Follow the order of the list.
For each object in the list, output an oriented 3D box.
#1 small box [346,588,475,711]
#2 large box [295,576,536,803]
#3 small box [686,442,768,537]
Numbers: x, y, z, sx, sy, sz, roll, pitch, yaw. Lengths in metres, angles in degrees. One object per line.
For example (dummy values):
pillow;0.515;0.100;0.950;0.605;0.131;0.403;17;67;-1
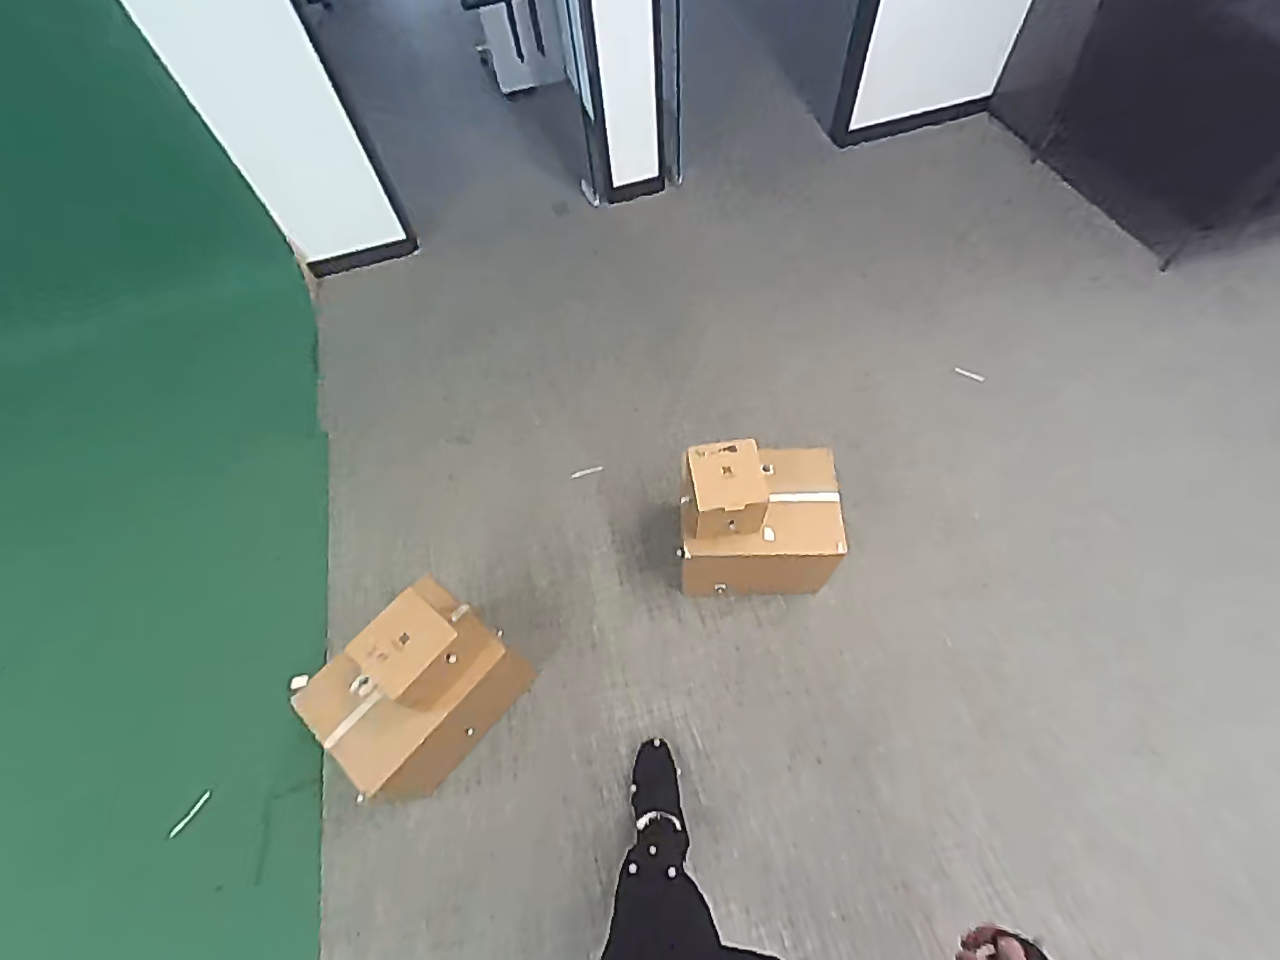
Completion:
small box;-0.482;0.371;1.172;0.168;0.176;0.179;35;68;21
large box;-0.536;0.529;1.372;0.320;0.320;0.408;34;68;23
small box;0.206;0.031;1.323;0.168;0.176;0.179;-7;61;0
